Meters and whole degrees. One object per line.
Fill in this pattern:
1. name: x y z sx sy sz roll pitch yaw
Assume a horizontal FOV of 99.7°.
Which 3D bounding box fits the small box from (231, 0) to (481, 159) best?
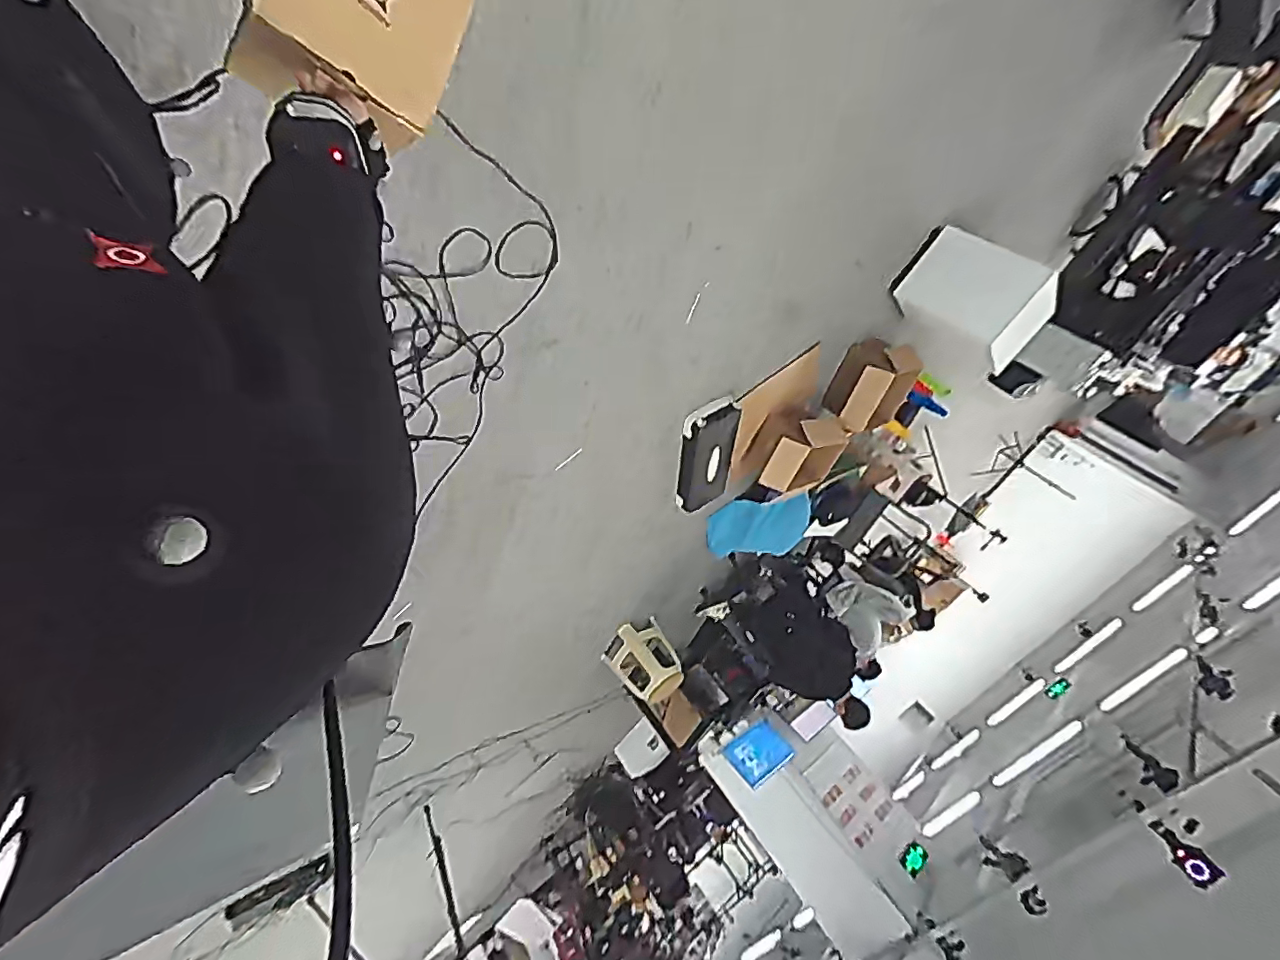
1. small box: -0.306 -0.482 0.578 0.168 0.176 0.179 22 87 -47
